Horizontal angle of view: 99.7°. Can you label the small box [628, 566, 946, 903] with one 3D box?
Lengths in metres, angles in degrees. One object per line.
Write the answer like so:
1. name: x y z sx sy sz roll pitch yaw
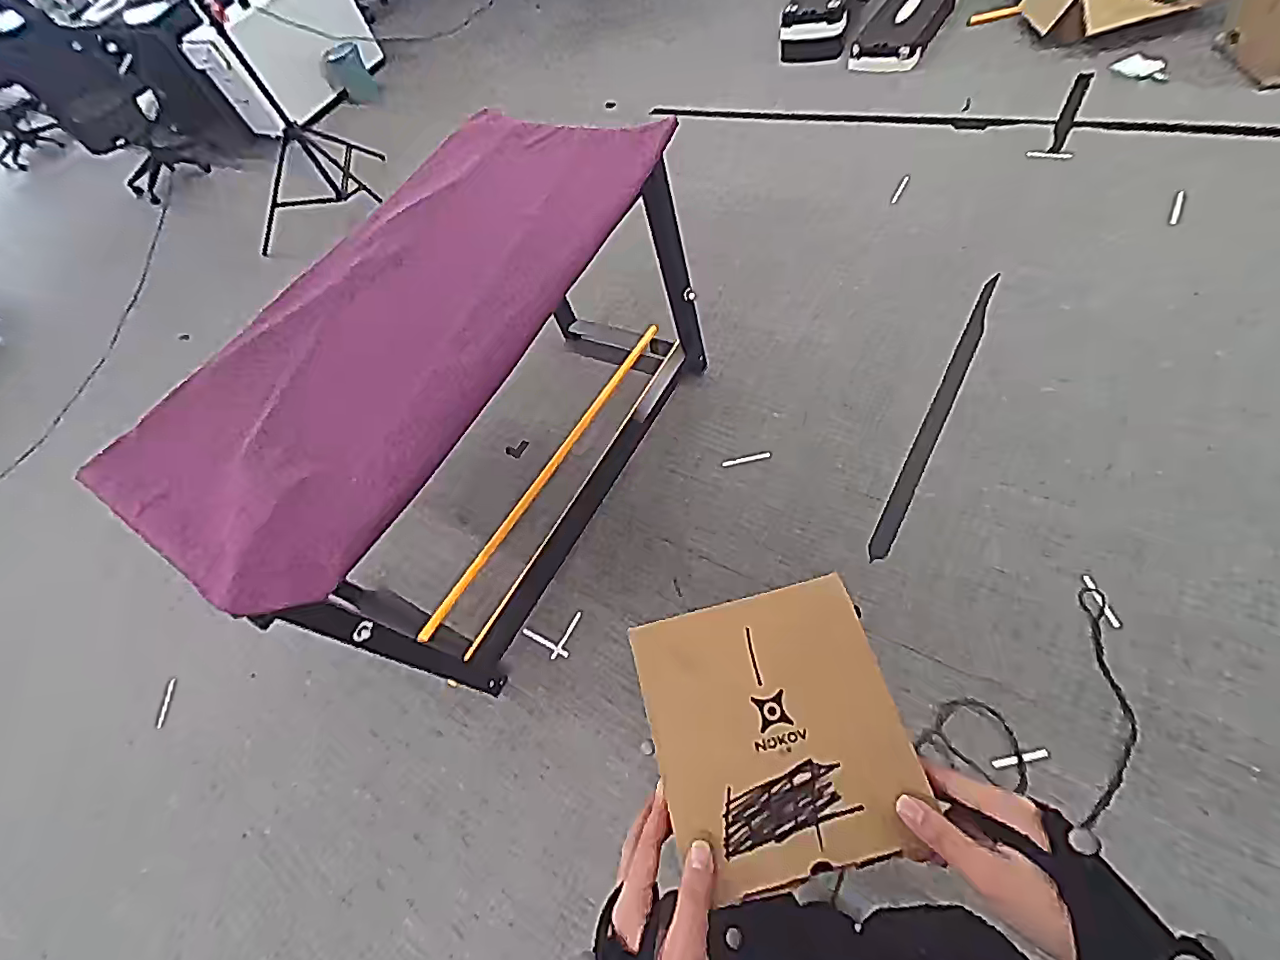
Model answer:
1. small box: 0.095 0.191 0.428 0.168 0.176 0.179 -14 63 -2
